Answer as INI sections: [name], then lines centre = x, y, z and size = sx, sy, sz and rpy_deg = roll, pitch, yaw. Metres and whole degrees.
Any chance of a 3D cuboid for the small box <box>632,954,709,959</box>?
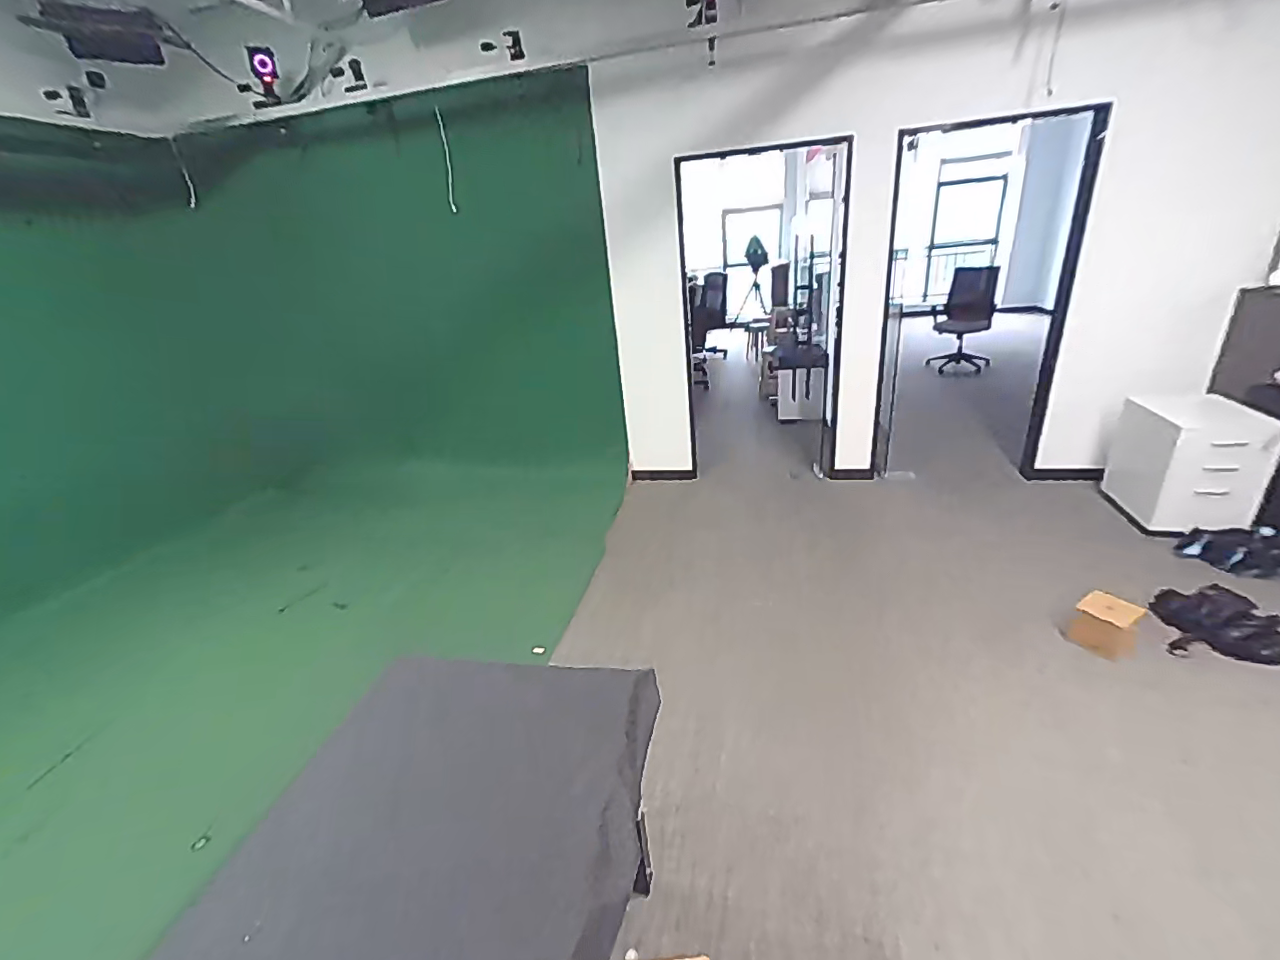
[small box]
centre = -0.011, 0.486, 0.395
size = 0.168, 0.176, 0.179
rpy_deg = -8, 36, 3
